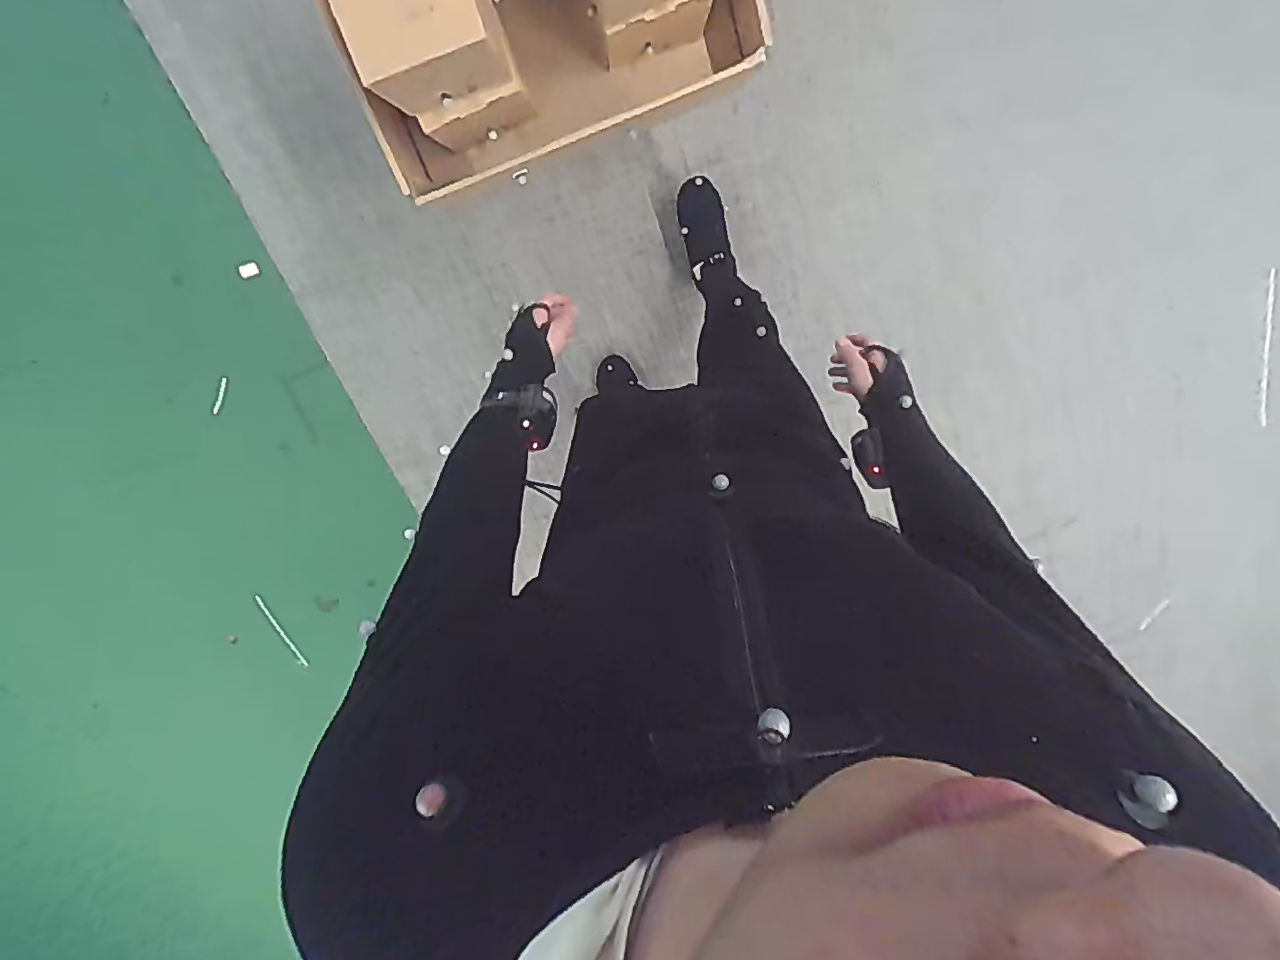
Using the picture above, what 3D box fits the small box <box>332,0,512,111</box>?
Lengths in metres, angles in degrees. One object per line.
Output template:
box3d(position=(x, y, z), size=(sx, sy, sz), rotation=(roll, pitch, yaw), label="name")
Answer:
box3d(position=(-0.282, -0.612, 0.690), size=(0.168, 0.176, 0.179), rotation=(-15, 111, 6), label="small box")
